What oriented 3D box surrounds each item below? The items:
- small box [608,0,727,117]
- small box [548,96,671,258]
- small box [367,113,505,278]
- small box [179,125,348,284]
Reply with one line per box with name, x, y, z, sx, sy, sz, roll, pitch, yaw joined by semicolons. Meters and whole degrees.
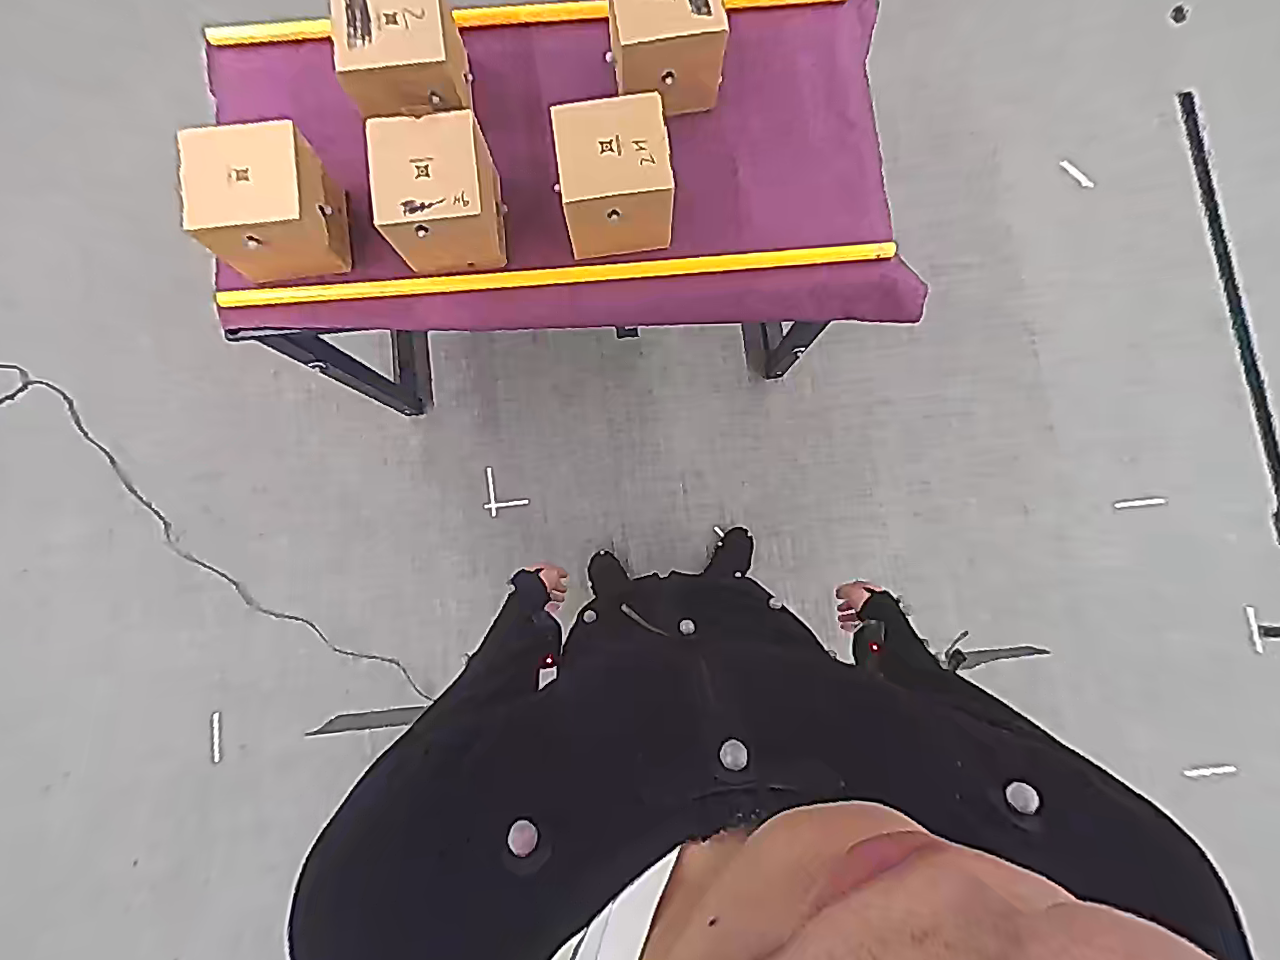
small box;0.041;-0.759;0.931;0.179;0.176;0.168;-9;85;0
small box;-0.046;-0.493;0.904;0.179;0.176;0.168;-7;83;-1
small box;-0.331;-0.464;0.902;0.168;0.176;0.179;-6;84;0
small box;-0.610;-0.447;0.900;0.179;0.176;0.168;-8;84;-2
